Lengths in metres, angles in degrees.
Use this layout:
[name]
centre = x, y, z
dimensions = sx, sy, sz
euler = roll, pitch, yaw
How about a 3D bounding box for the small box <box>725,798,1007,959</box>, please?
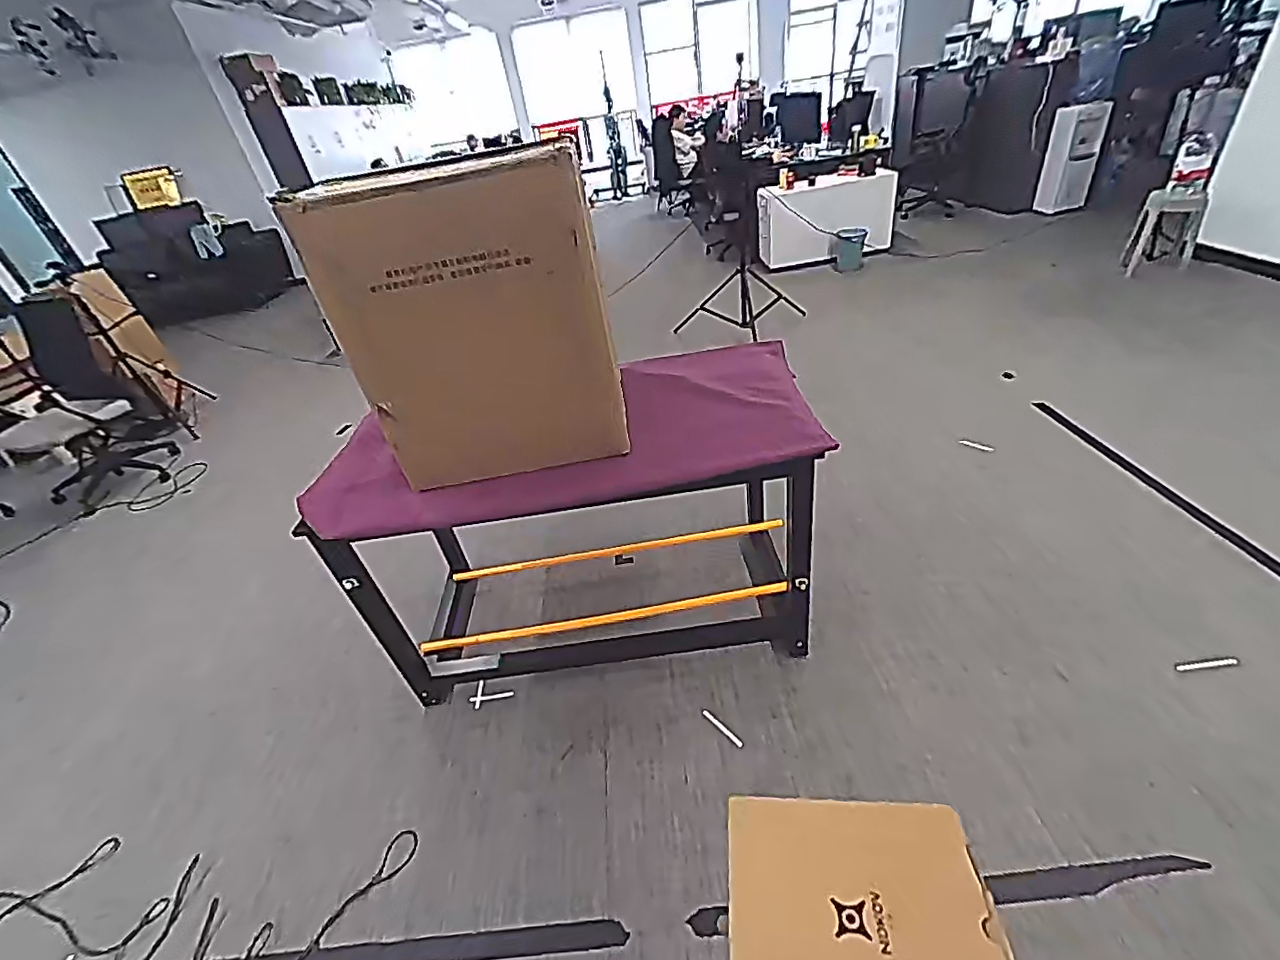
[small box]
centre = 0.160, 0.369, 0.401
dimensions = 0.179, 0.176, 0.168
euler = -5, 27, 12
